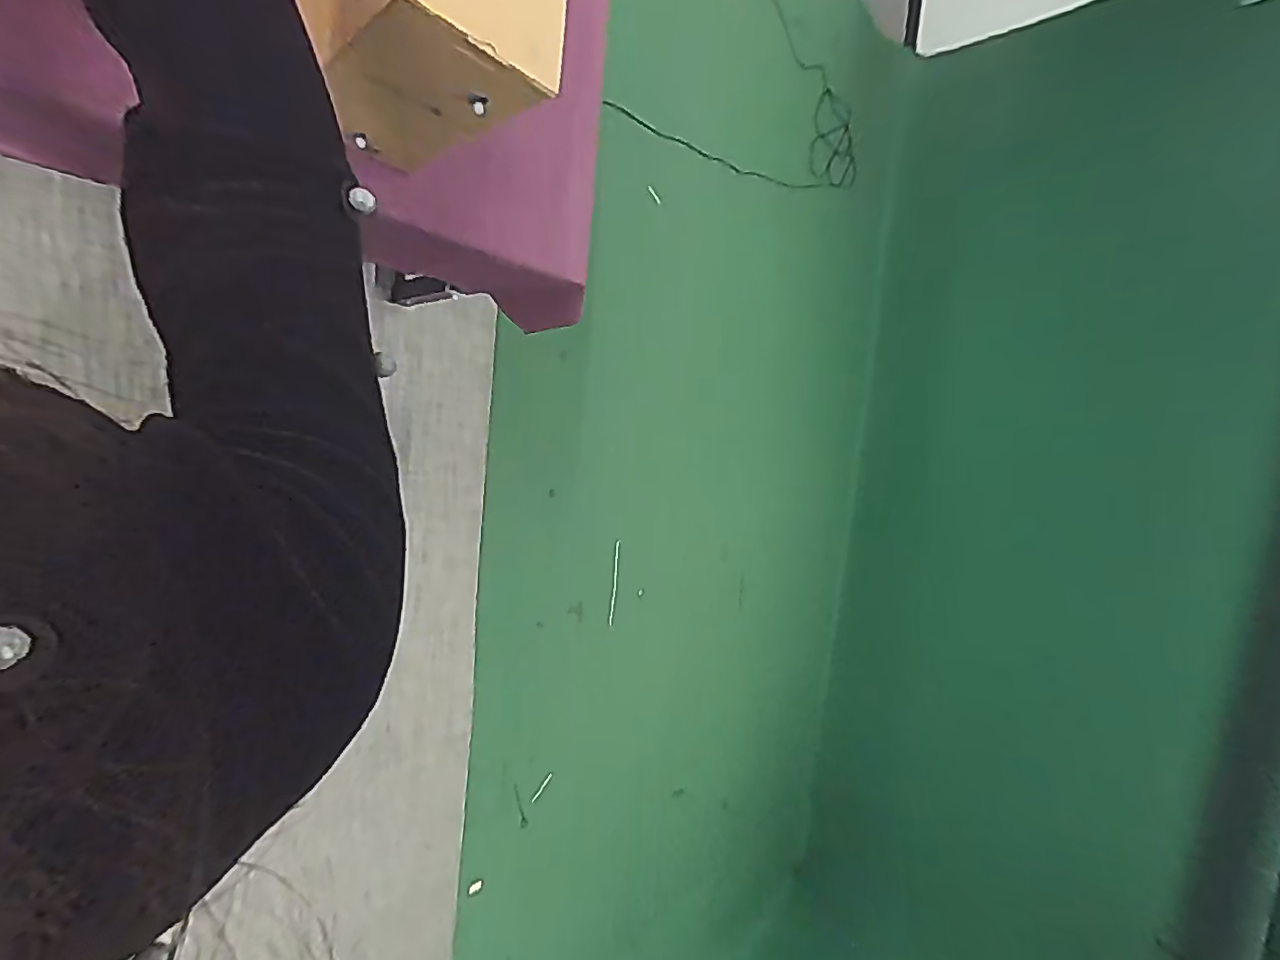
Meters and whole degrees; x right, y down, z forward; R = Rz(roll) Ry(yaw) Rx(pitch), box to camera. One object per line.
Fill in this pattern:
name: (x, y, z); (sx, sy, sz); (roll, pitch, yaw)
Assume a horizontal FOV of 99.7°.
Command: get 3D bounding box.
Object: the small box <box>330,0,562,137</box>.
small box: (-0.197, -0.489, 0.550); (0.168, 0.176, 0.179); (0, 98, -48)
